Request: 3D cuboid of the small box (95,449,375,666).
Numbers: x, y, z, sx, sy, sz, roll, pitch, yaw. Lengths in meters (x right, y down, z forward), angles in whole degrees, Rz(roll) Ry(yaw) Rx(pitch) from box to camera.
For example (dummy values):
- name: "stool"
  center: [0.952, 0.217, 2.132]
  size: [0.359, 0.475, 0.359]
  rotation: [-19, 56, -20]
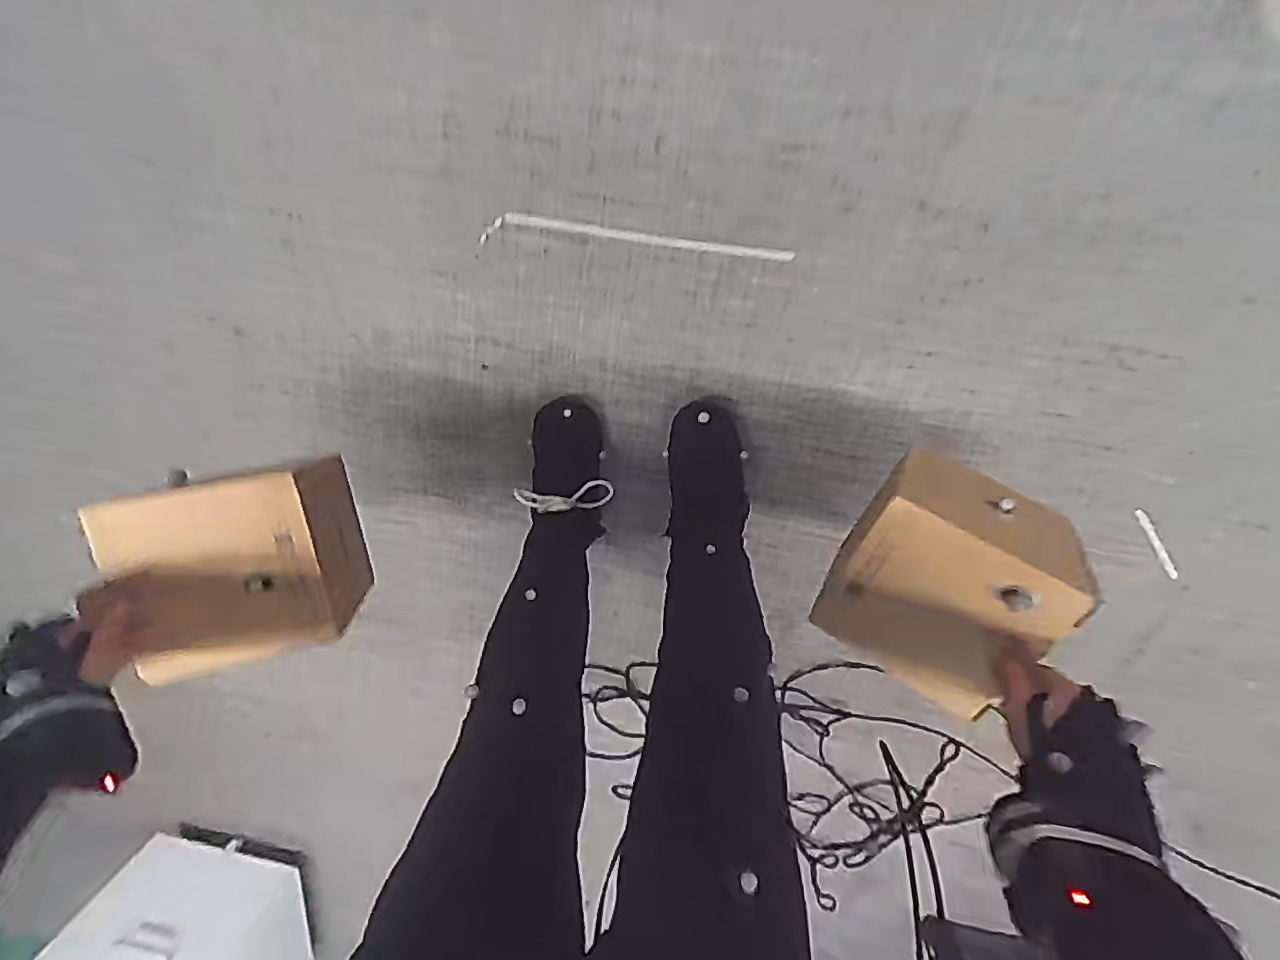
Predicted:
- name: "small box"
  center: [-0.391, 0.064, 0.566]
  size: [0.176, 0.179, 0.168]
  rotation: [-11, 101, -15]
